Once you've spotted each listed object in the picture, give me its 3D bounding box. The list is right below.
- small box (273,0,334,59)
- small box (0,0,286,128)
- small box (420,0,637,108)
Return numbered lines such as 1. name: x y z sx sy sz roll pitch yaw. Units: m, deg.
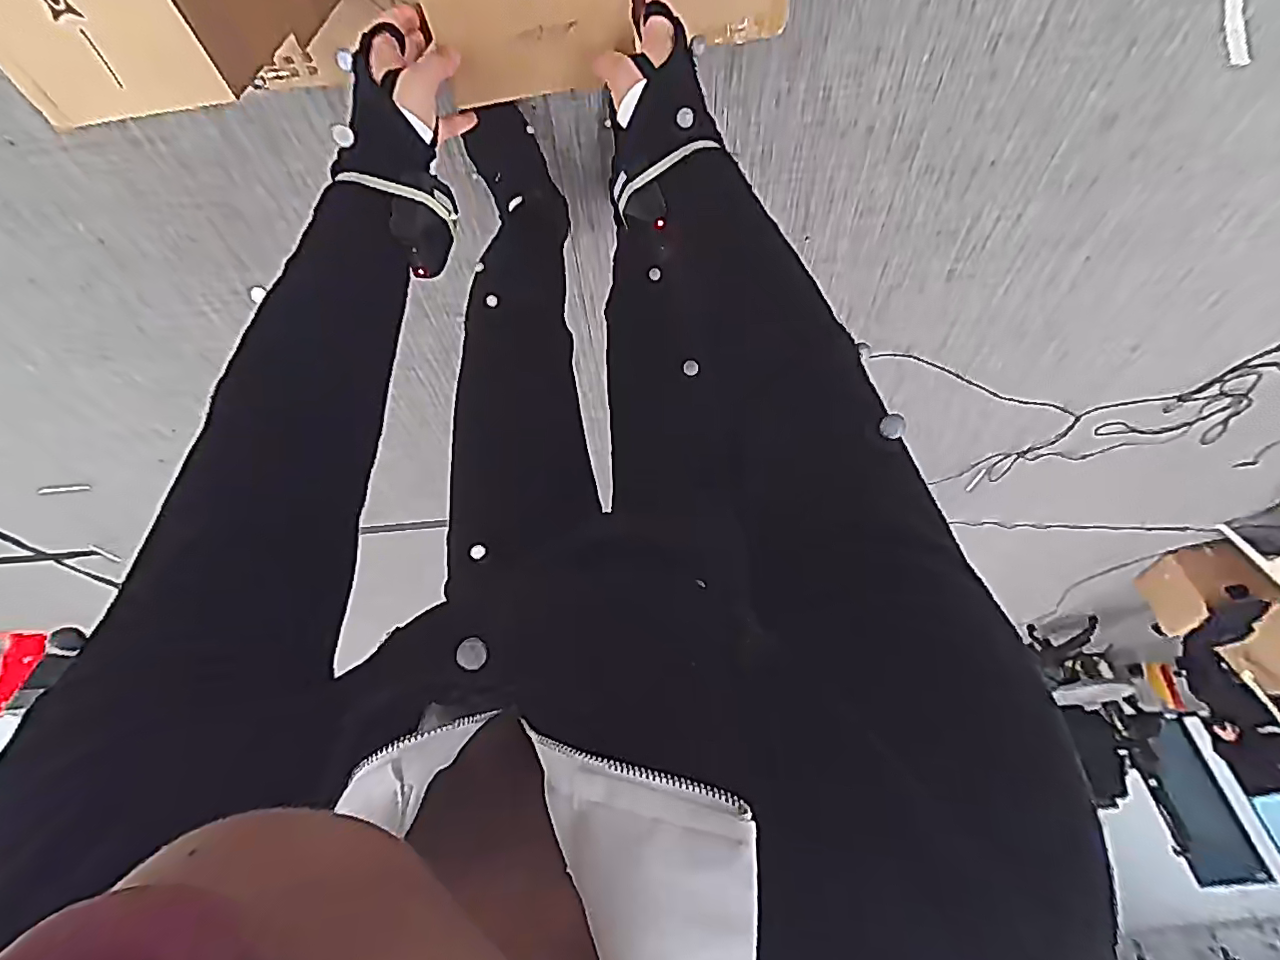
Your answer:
1. small box: -0.447 -0.556 0.547 0.168 0.176 0.179 -6 146 1
2. small box: -0.438 -0.429 0.442 0.168 0.176 0.179 -7 146 2
3. small box: -0.098 -0.457 0.453 0.168 0.176 0.179 -7 146 5
